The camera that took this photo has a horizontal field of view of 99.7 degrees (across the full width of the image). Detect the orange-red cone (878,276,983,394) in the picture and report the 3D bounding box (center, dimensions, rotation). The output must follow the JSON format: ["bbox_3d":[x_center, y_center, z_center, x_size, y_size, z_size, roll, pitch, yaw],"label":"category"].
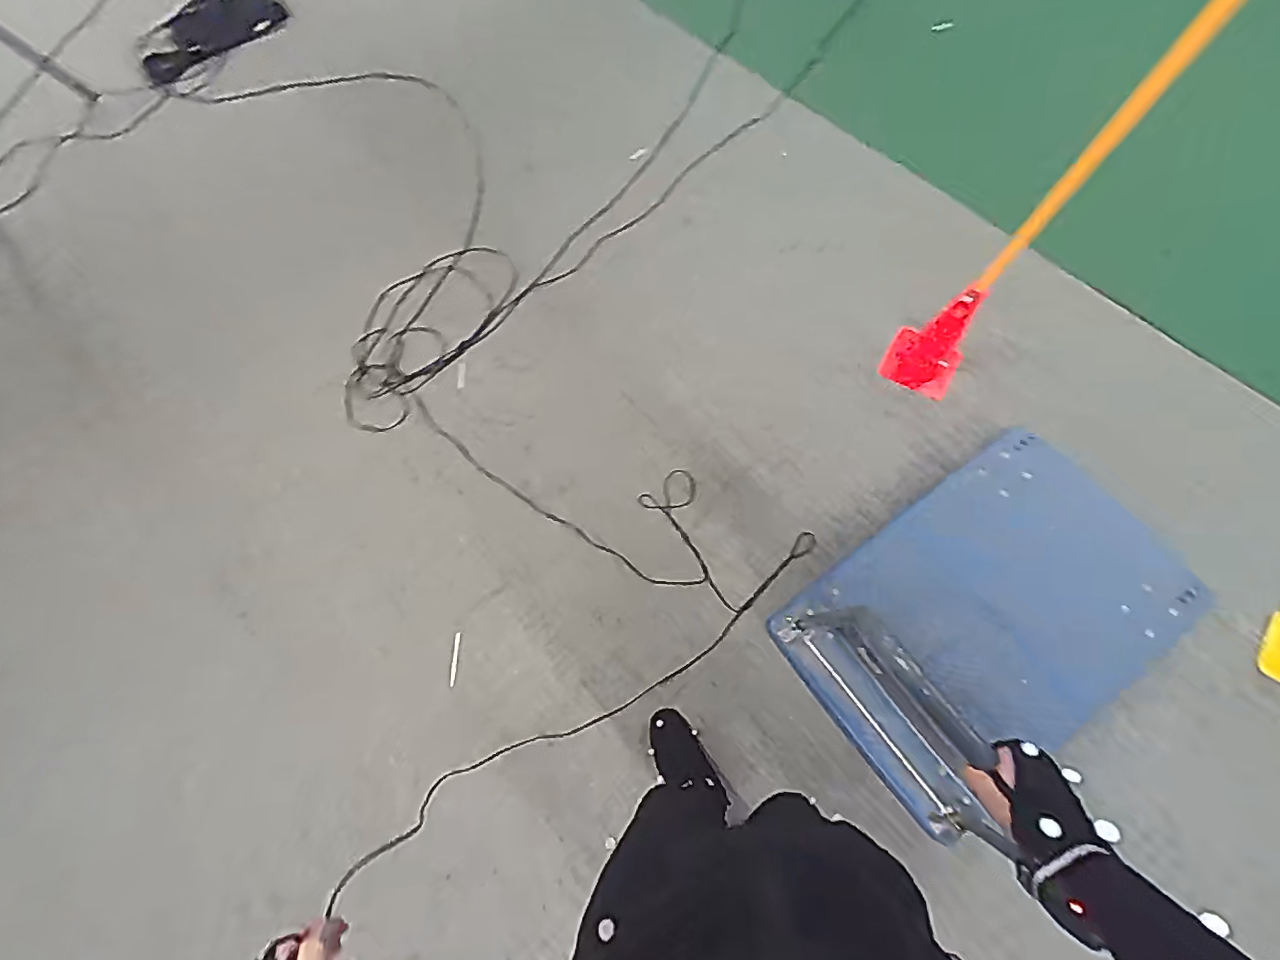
[{"bbox_3d":[0.846,-0.432,1.509,0.199,0.360,0.198,30,75,14],"label":"orange-red cone"}]
